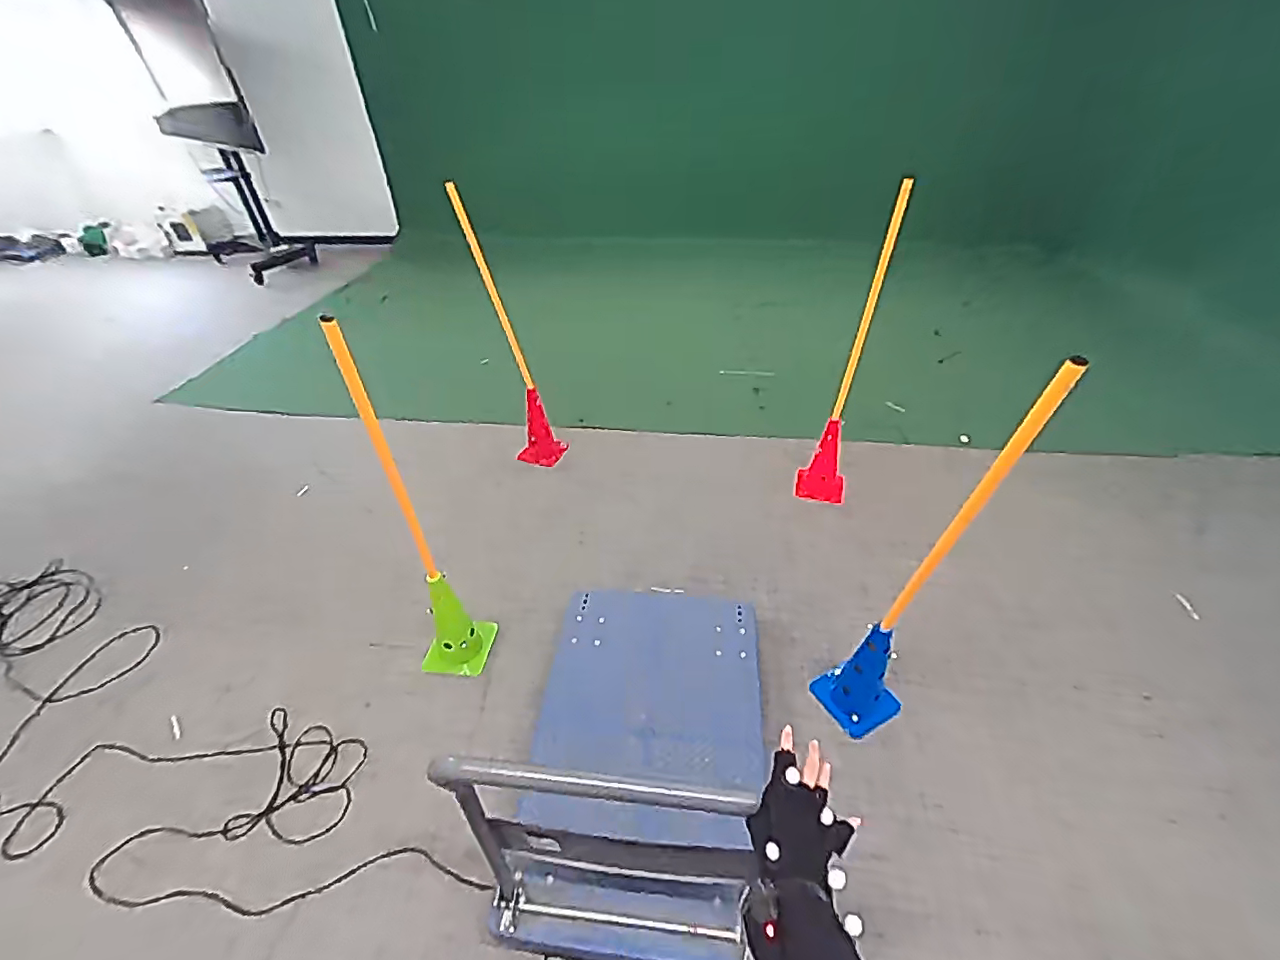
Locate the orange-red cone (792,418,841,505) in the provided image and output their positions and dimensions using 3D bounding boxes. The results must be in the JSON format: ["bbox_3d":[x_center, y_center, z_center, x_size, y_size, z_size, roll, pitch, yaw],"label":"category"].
[{"bbox_3d":[0.765,-0.097,2.254,0.198,0.360,0.199,10,41,16],"label":"orange-red cone"}]
